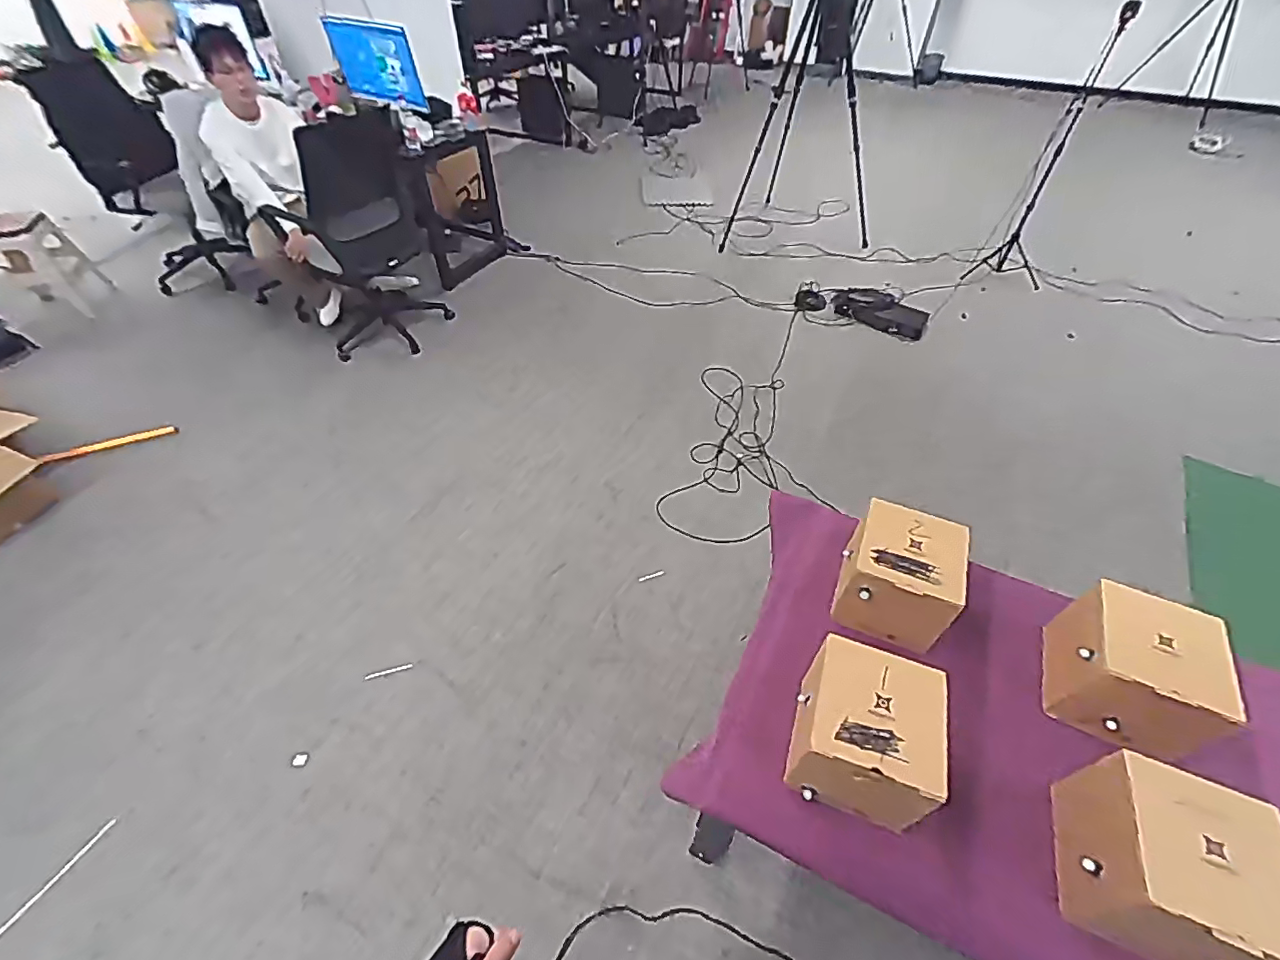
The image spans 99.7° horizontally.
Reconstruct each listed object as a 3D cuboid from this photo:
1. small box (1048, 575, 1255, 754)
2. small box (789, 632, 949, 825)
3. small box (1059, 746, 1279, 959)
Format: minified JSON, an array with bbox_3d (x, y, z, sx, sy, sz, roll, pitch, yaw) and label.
[{"bbox_3d":[0.768,0.286,0.838,0.168,0.176,0.179,21,52,18],"label":"small box"},{"bbox_3d":[0.321,0.356,0.772,0.168,0.176,0.179,16,48,14],"label":"small box"},{"bbox_3d":[0.654,0.472,0.664,0.168,0.176,0.179,19,49,16],"label":"small box"}]
